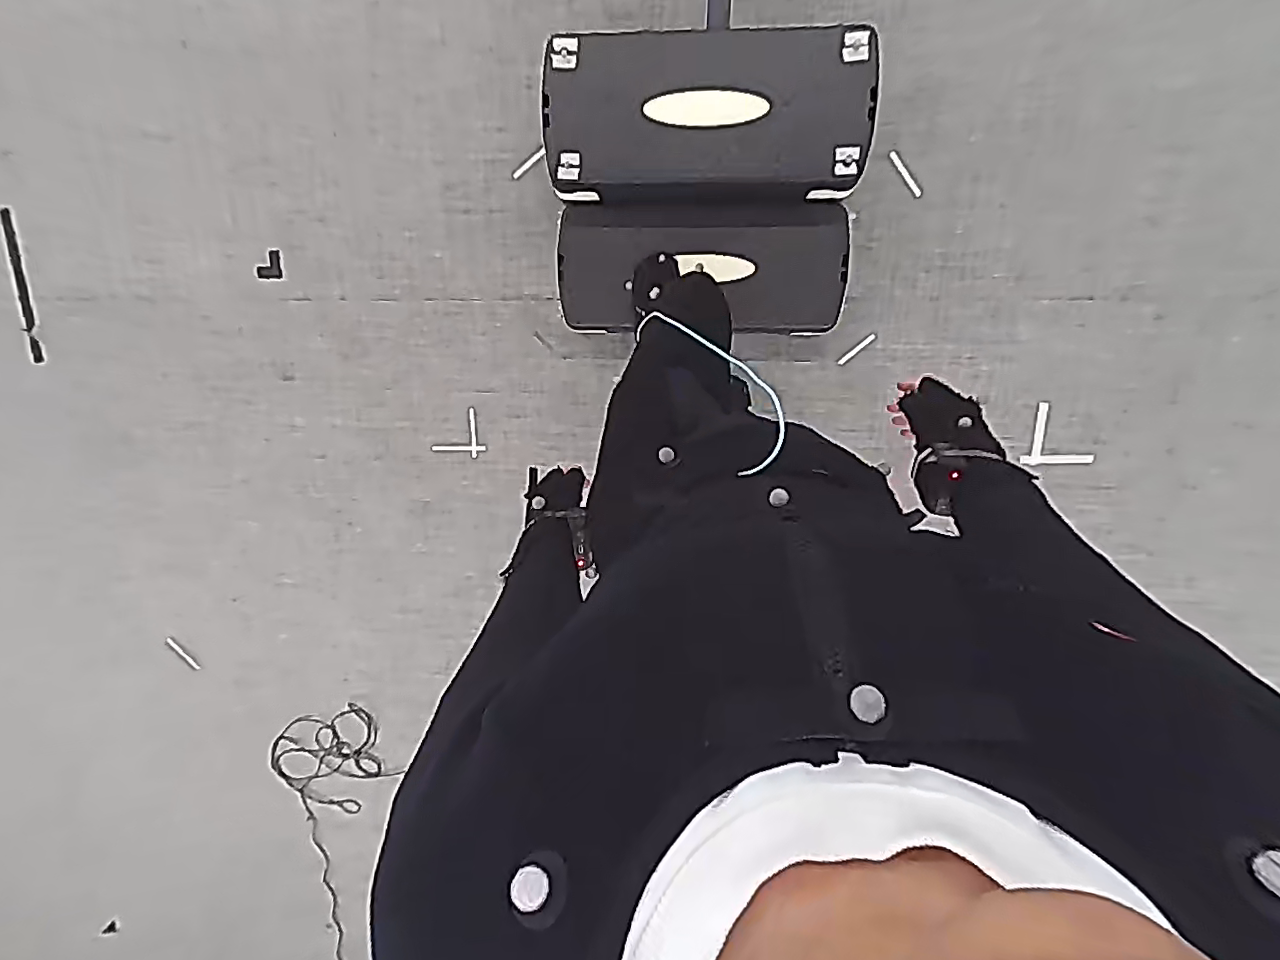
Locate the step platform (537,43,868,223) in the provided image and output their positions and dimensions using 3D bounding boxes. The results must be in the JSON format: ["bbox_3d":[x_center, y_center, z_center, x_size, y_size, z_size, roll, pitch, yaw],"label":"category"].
[{"bbox_3d":[0.123,-0.734,1.169,0.684,0.204,0.286,1,105,4],"label":"step platform"}]
